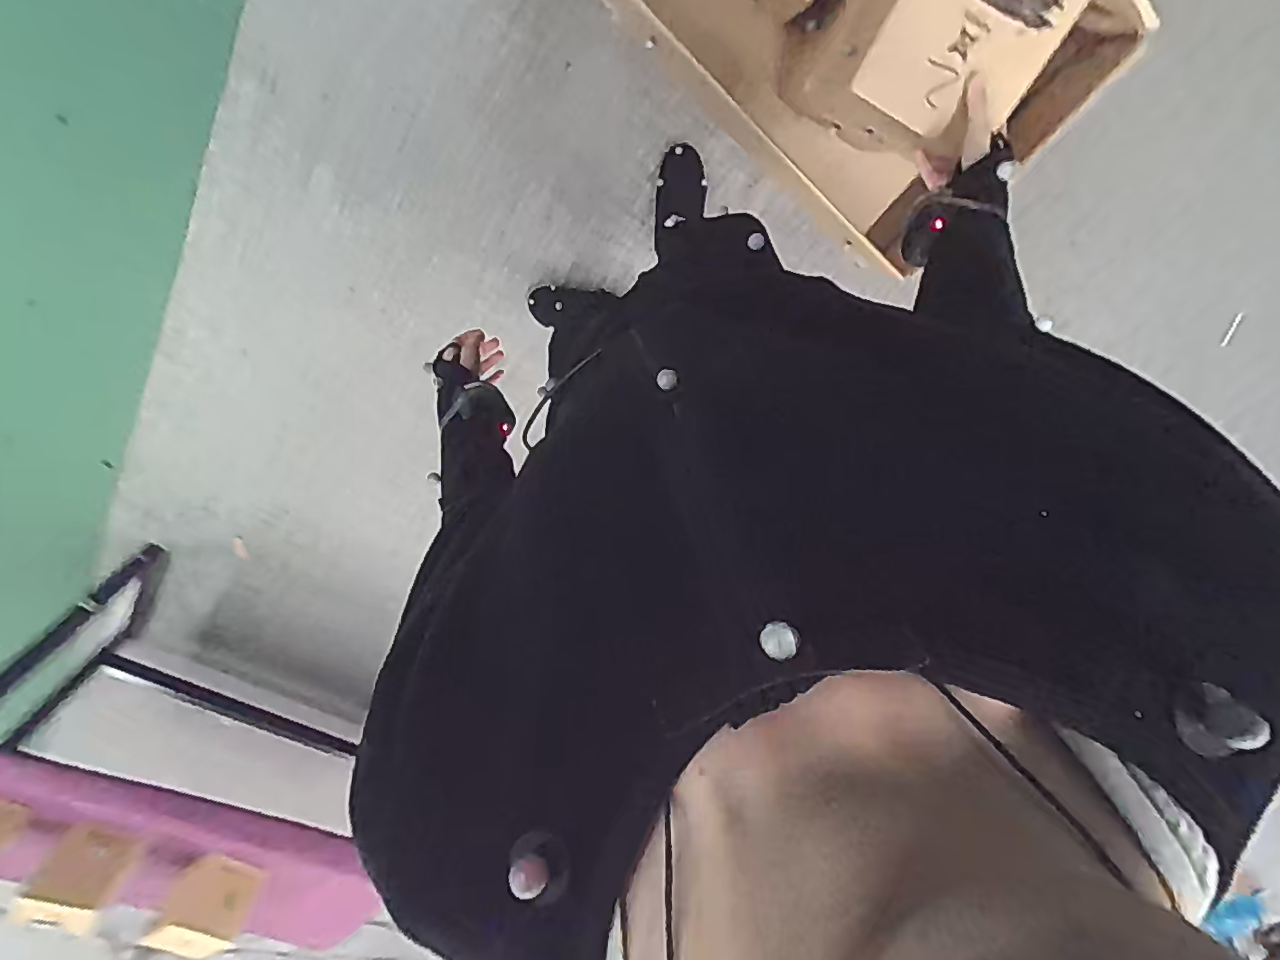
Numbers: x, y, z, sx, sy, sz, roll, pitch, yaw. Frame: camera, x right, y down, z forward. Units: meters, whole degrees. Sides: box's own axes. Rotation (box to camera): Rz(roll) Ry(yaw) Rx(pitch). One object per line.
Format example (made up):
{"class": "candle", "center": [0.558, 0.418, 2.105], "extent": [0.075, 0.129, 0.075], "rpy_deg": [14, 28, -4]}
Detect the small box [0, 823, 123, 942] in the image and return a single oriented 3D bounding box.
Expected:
{"class": "small box", "center": [-1.418, 0.975, 1.314], "extent": [0.168, 0.176, 0.179], "rpy_deg": [30, 117, -19]}

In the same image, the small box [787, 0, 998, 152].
{"class": "small box", "center": [0.317, -0.575, 0.728], "extent": [0.168, 0.176, 0.179], "rpy_deg": [23, 120, -14]}

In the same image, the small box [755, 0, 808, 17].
{"class": "small box", "center": [0.183, -0.709, 0.640], "extent": [0.168, 0.176, 0.179], "rpy_deg": [30, 117, -18]}

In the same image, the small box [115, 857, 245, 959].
{"class": "small box", "center": [-1.188, 1.122, 1.414], "extent": [0.179, 0.176, 0.168], "rpy_deg": [-33, 118, 19]}
